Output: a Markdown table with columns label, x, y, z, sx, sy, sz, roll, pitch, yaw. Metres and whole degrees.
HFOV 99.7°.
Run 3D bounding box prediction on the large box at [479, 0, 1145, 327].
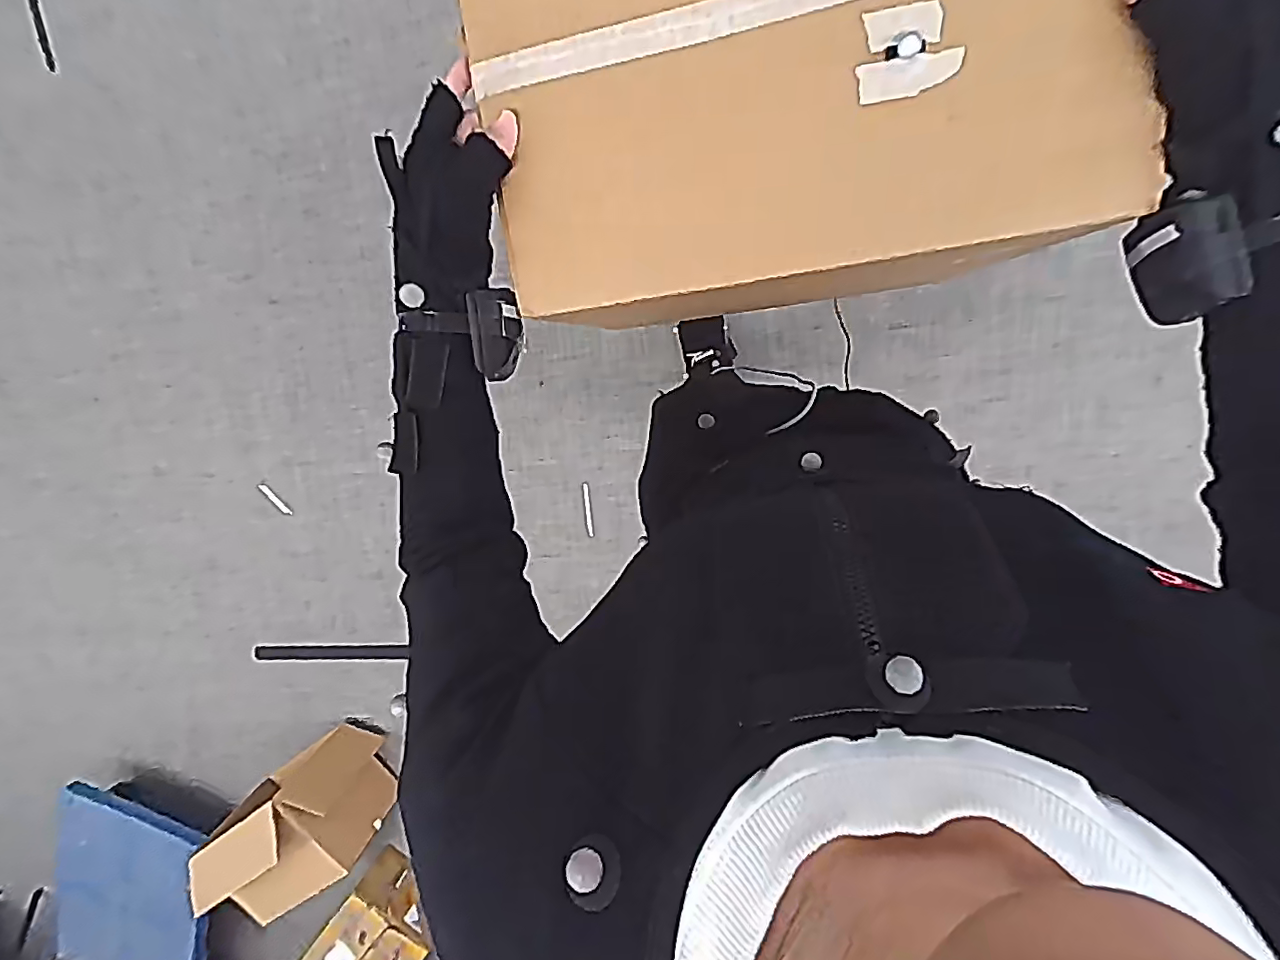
| label | x | y | z | sx | sy | sz | roll | pitch | yaw |
| --- | --- | --- | --- | --- | --- | --- | --- | --- | --- |
| large box | 0.112 | -0.333 | 0.482 | 0.408 | 0.320 | 0.320 | -6 | 103 | 11 |
